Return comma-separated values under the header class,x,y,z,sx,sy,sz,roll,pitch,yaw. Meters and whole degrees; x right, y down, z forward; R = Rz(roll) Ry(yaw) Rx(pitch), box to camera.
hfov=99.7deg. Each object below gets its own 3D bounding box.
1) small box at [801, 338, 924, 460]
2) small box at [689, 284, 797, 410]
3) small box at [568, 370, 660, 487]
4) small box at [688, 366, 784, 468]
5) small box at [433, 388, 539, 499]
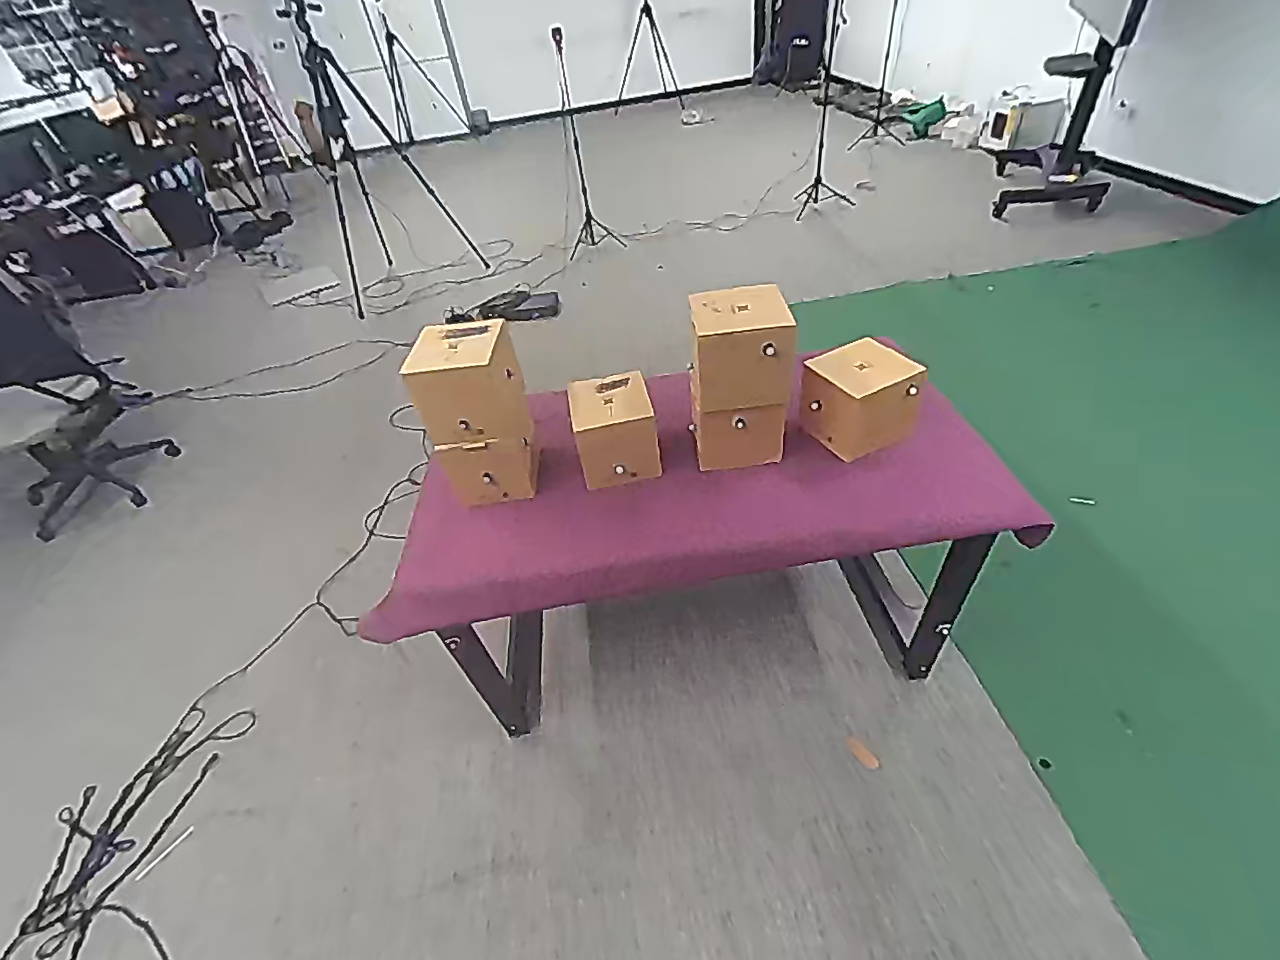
class,x,y,z,sx,sy,sz,roll,pitch,yaw
small box,0.459,-0.170,1.147,0.179,0.176,0.168,-23,44,-14
small box,0.189,-0.254,1.039,0.179,0.176,0.168,-6,43,4
small box,-0.056,-0.110,1.166,0.168,0.176,0.179,-11,43,-2
small box,0.202,-0.140,1.157,0.179,0.176,0.168,-6,44,3
small box,-0.322,-0.072,1.169,0.168,0.176,0.179,-7,44,1
